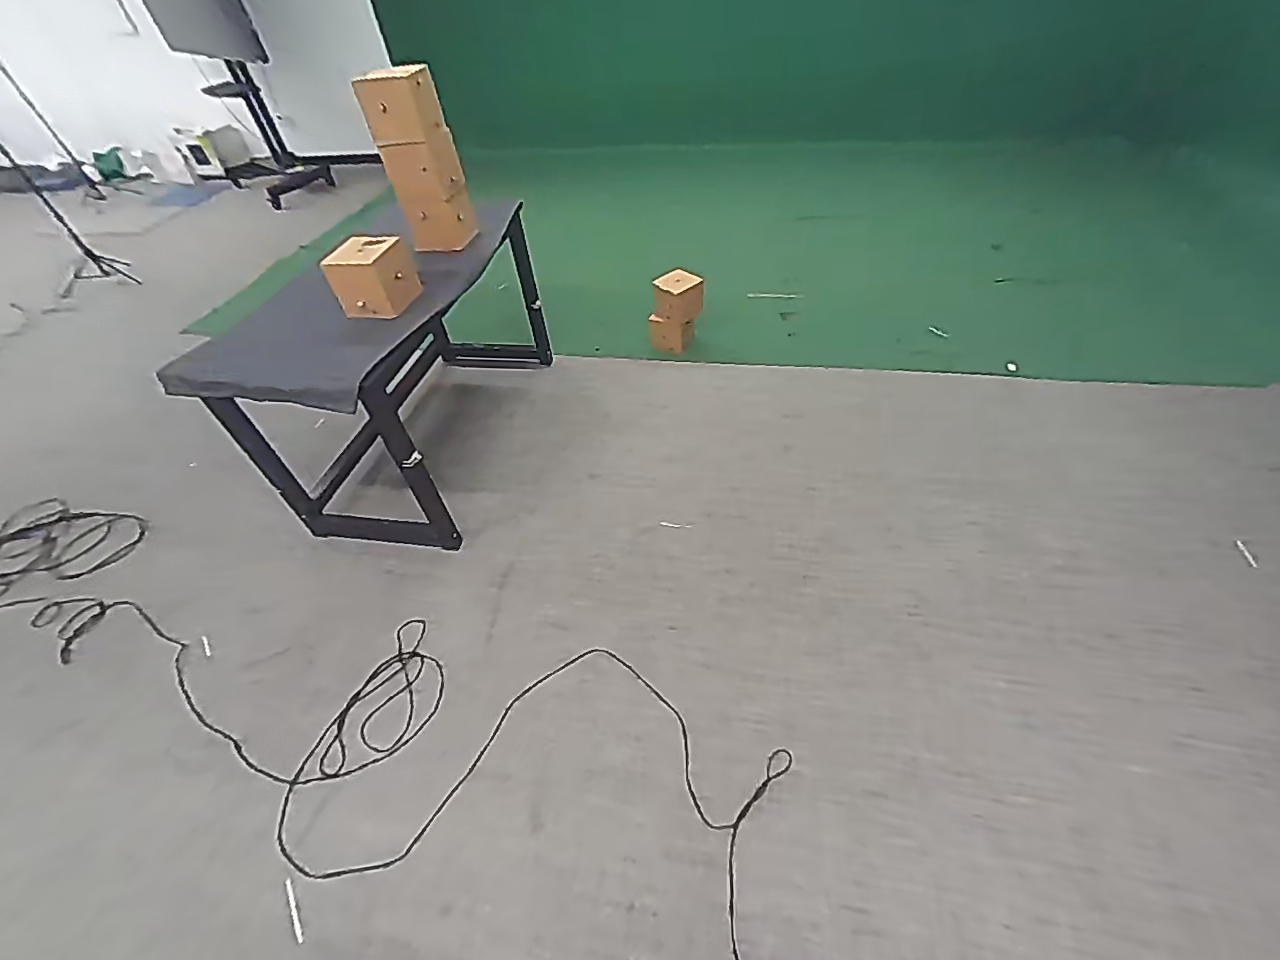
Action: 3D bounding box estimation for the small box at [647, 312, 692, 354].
[{"bbox_3d":[0.151,-0.738,2.639,0.168,0.176,0.179,18,51,21],"label":"small box"}]

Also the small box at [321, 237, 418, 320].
[{"bbox_3d":[-0.776,-0.589,1.579,0.168,0.176,0.179,5,48,11],"label":"small box"}]

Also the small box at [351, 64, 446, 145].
[{"bbox_3d":[-0.723,-1.134,1.638,0.179,0.176,0.168,1,47,9],"label":"small box"}]

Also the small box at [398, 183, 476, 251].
[{"bbox_3d":[-0.694,-0.910,1.877,0.179,0.176,0.168,4,47,11],"label":"small box"}]

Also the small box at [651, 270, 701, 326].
[{"bbox_3d":[0.170,-0.843,2.511,0.179,0.176,0.168,-35,54,-26],"label":"small box"}]
